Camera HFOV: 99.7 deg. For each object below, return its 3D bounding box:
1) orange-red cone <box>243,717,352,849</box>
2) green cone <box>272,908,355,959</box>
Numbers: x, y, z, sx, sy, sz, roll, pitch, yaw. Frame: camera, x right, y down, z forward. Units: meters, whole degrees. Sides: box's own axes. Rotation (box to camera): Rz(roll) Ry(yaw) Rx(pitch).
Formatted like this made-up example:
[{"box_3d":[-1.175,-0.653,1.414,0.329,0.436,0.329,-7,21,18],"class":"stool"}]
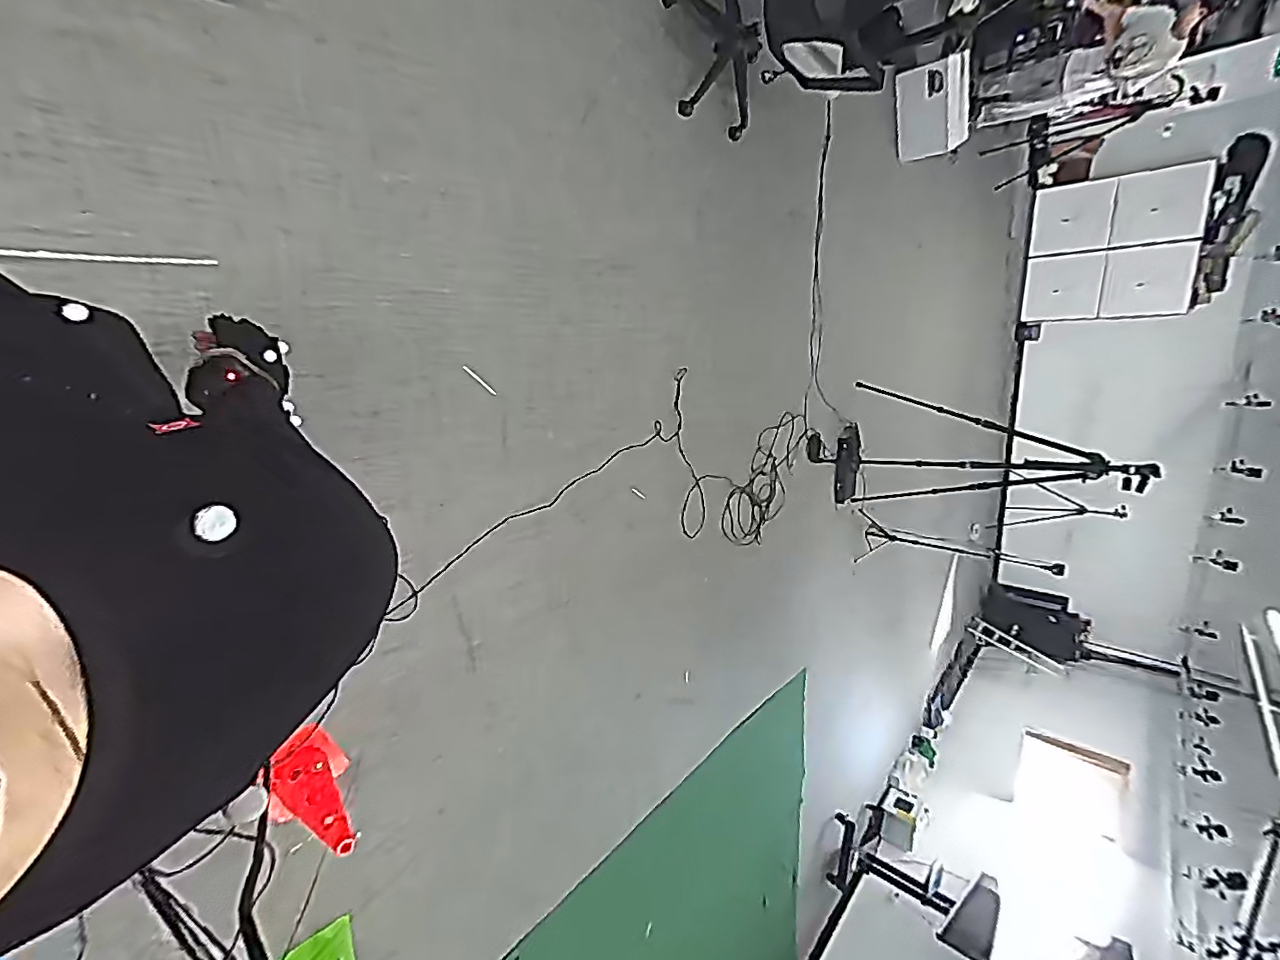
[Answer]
[{"box_3d":[-0.802,0.794,1.349,0.198,0.360,0.199,-38,126,-35],"class":"orange-red cone"},{"box_3d":[-0.817,1.406,1.458,0.200,0.368,0.202,-14,108,-46],"class":"green cone"}]
